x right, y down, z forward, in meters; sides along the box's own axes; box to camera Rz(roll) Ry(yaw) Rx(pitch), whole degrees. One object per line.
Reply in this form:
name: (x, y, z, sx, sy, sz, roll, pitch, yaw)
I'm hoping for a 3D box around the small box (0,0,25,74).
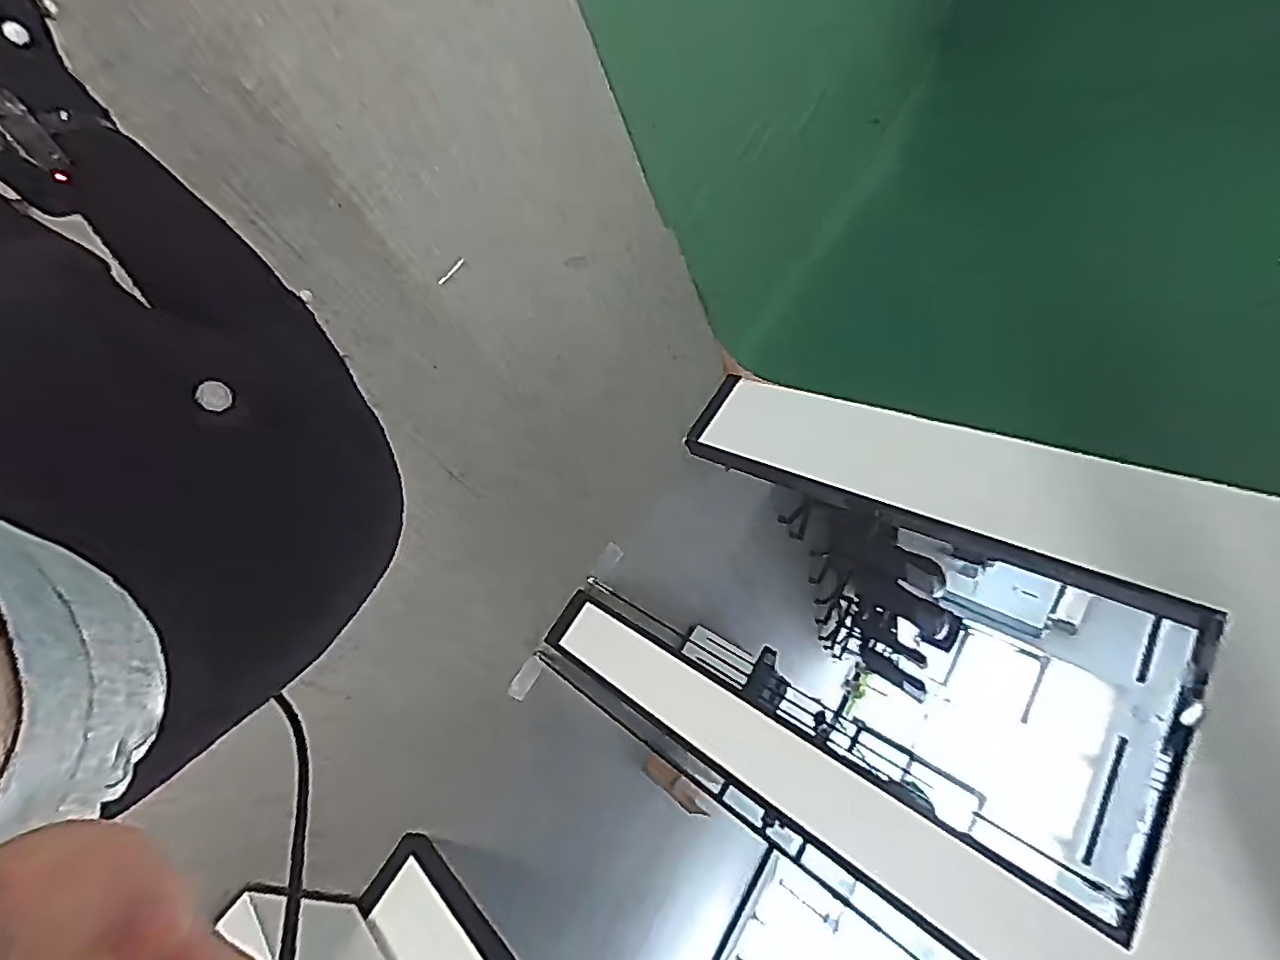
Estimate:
small box: (-0.609, -0.424, 0.372, 0.168, 0.176, 0.179, -22, 104, -25)
